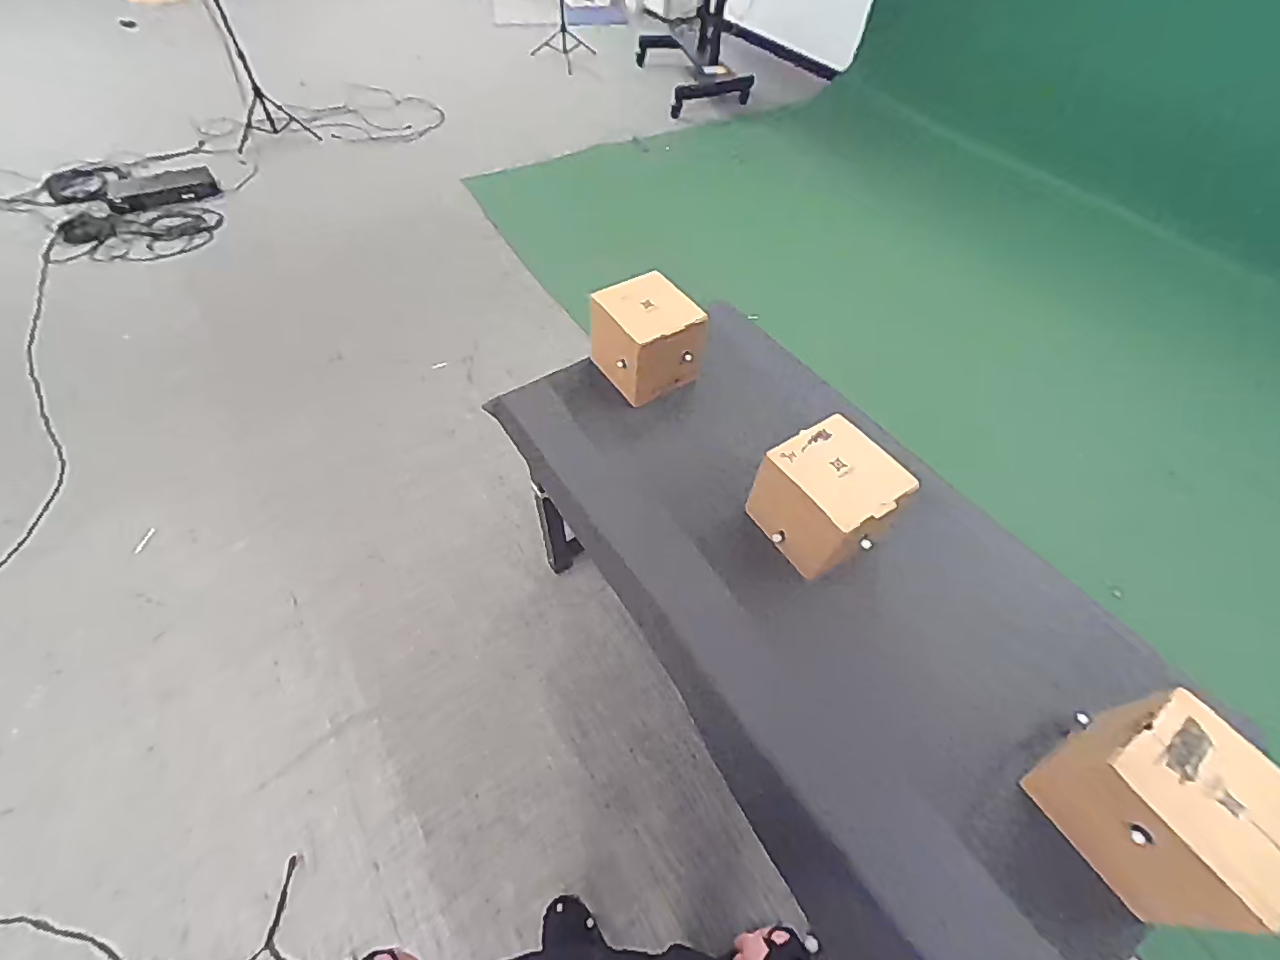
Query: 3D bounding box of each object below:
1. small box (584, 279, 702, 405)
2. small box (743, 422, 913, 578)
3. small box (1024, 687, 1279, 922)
[{"bbox_3d":[-0.001,-0.274,1.105,0.168,0.176,0.179,-28,60,-26],"label":"small box"},{"bbox_3d":[0.300,0.041,0.898,0.168,0.176,0.179,-26,60,-24],"label":"small box"},{"bbox_3d":[0.632,0.394,0.663,0.168,0.176,0.179,-25,60,-22],"label":"small box"}]
